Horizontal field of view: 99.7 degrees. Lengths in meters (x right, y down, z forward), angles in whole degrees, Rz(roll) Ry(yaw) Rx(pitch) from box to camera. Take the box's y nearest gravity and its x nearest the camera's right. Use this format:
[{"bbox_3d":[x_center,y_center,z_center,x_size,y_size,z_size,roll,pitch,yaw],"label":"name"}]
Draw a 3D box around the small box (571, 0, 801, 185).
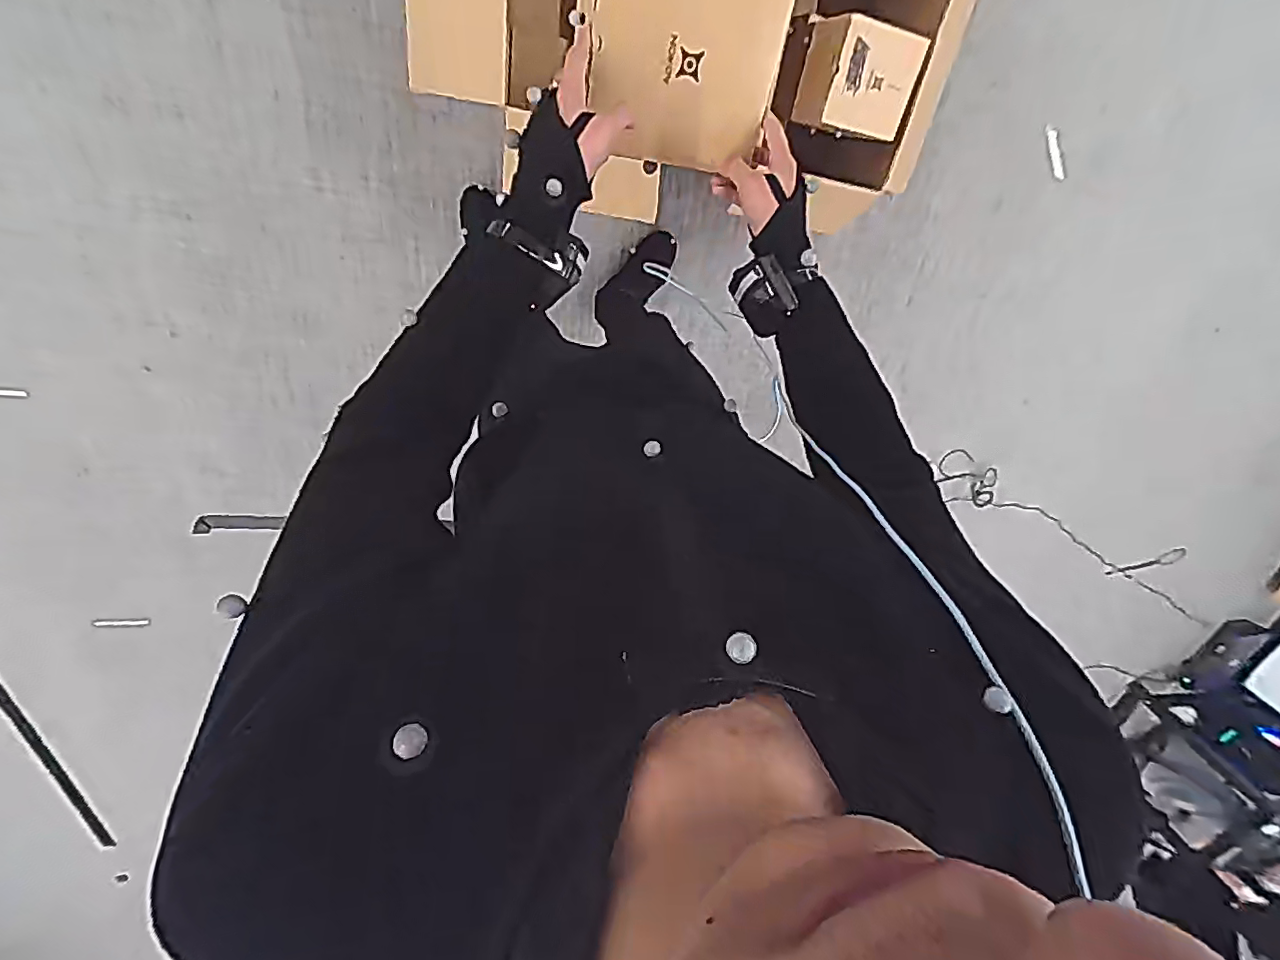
[{"bbox_3d":[0.030,-0.421,0.545,0.179,0.176,0.168,2,131,-13],"label":"small box"}]
